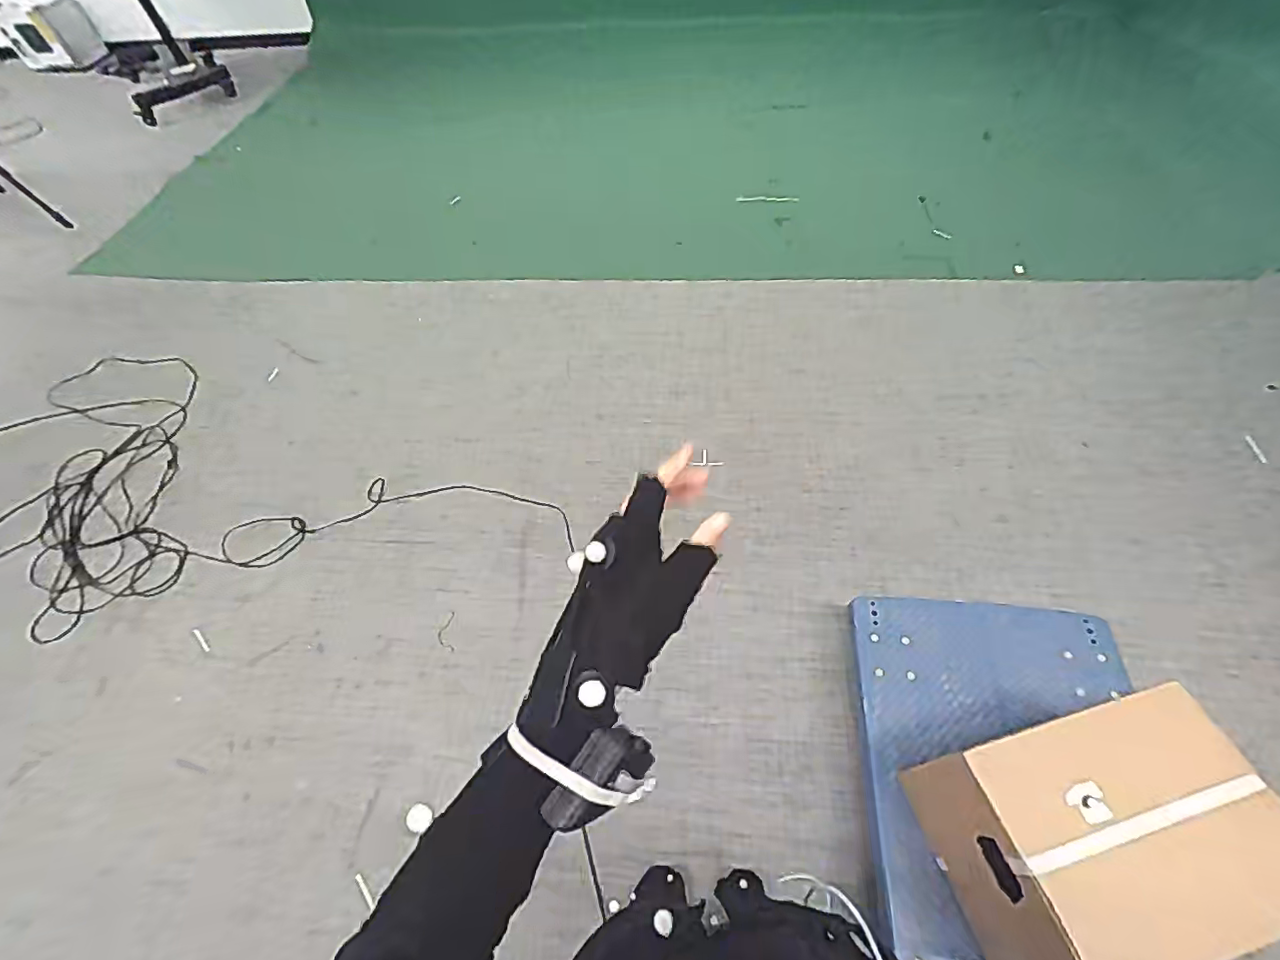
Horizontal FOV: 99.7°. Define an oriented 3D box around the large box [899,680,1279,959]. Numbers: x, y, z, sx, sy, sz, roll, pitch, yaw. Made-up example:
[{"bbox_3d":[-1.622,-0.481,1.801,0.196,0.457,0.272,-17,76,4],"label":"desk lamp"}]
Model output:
[{"bbox_3d":[0.747,0.588,0.925,0.408,0.320,0.320,-16,56,-6],"label":"large box"}]
